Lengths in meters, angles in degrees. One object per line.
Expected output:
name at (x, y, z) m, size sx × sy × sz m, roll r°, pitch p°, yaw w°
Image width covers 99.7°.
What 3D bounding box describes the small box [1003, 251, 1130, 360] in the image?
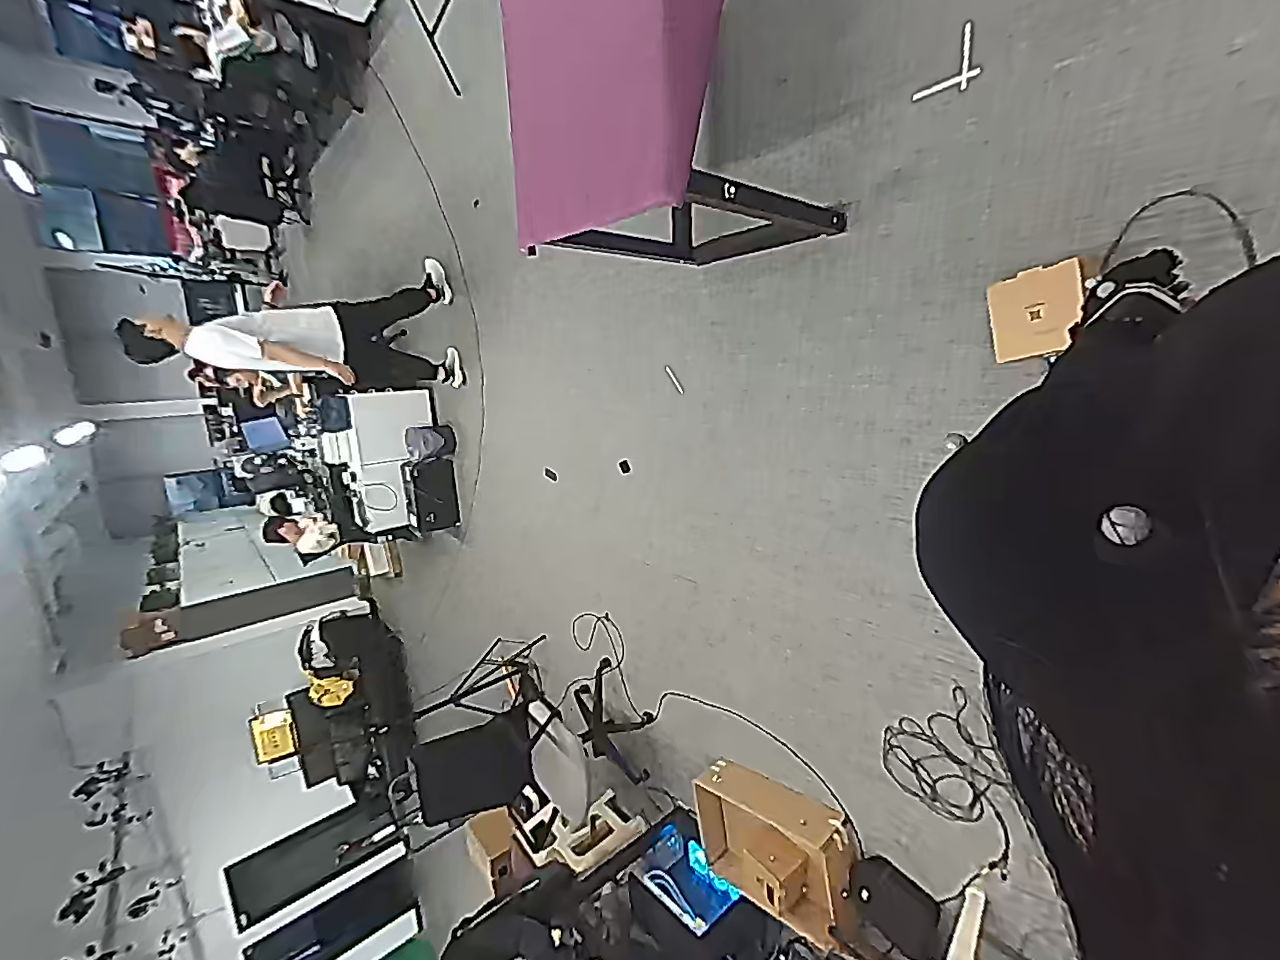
small box at (0.908, -0.362, 1.151) m, size 0.168 × 0.176 × 0.179 m, roll -8°, pitch 94°, yaw 55°
